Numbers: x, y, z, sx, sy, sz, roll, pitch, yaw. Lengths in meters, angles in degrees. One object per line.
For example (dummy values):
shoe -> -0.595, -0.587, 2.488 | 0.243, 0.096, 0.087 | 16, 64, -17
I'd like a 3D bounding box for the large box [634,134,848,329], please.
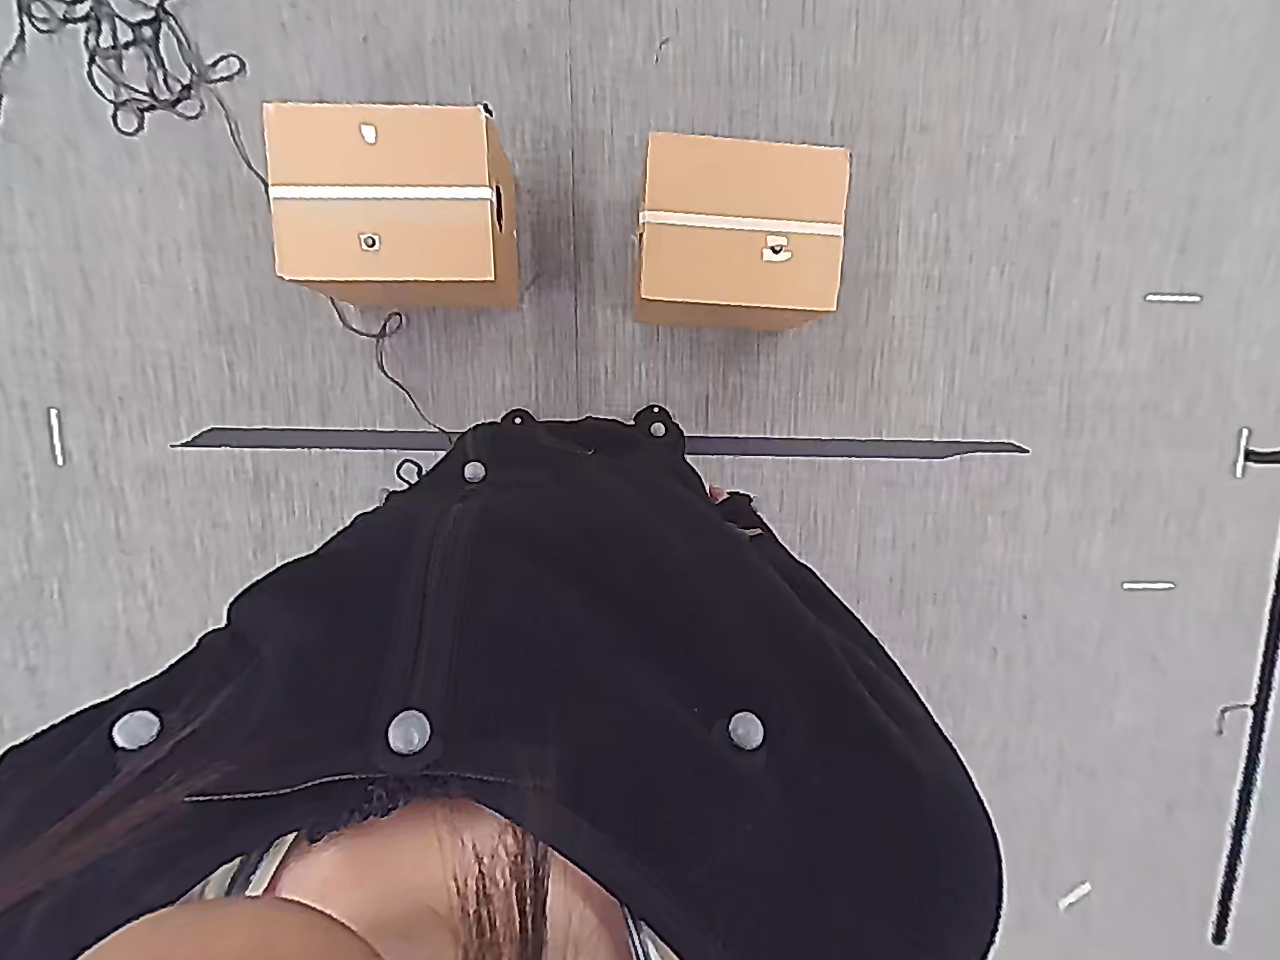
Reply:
large box -> 0.198, -0.531, 1.226 | 0.408, 0.320, 0.320 | 3, 98, -5
